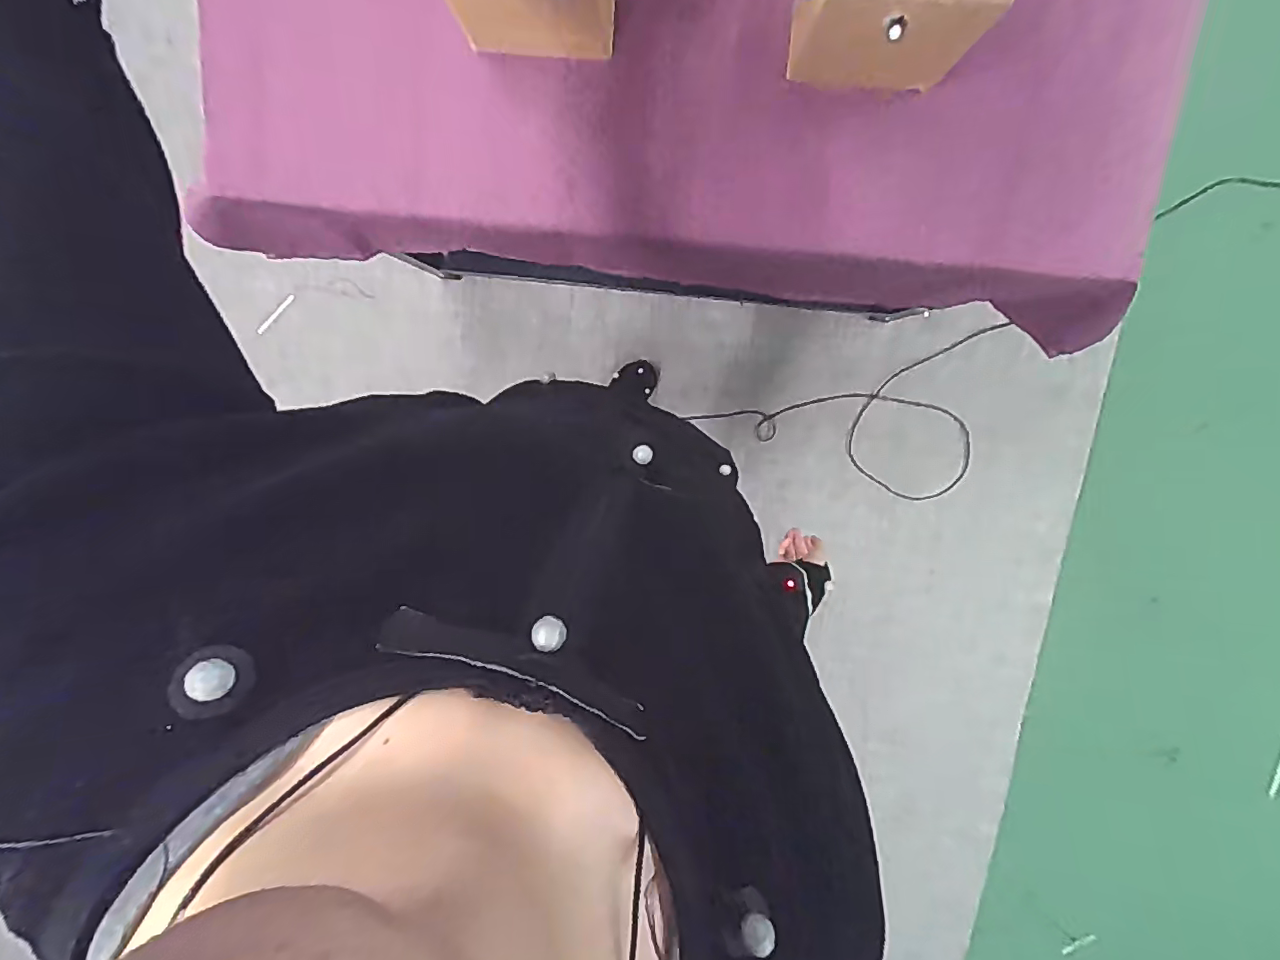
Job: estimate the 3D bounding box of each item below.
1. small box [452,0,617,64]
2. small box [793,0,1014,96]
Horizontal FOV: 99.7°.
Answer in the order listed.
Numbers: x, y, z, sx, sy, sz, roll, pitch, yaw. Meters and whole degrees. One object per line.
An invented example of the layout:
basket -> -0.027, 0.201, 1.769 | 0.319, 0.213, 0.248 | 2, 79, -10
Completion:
small box -> -0.116, -0.584, 0.577 | 0.179, 0.176, 0.168 | 4, 100, 0
small box -> 0.273, -0.540, 0.571 | 0.179, 0.176, 0.168 | 6, 101, 0
